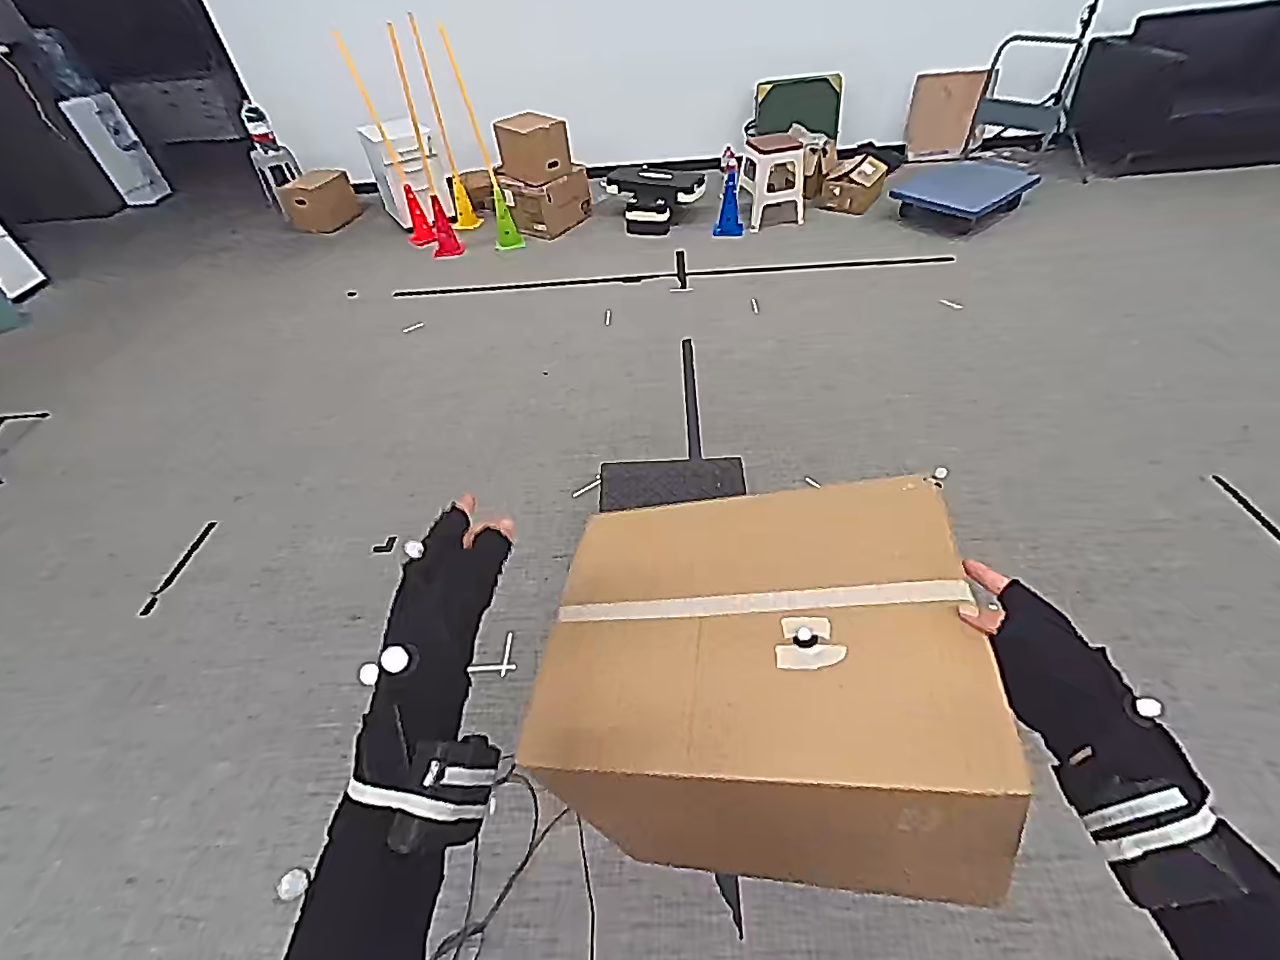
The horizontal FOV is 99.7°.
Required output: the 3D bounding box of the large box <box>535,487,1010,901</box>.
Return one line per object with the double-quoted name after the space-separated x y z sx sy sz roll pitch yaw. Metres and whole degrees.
0.158 0.249 0.640 0.408 0.320 0.320 -10 39 23 "large box"
